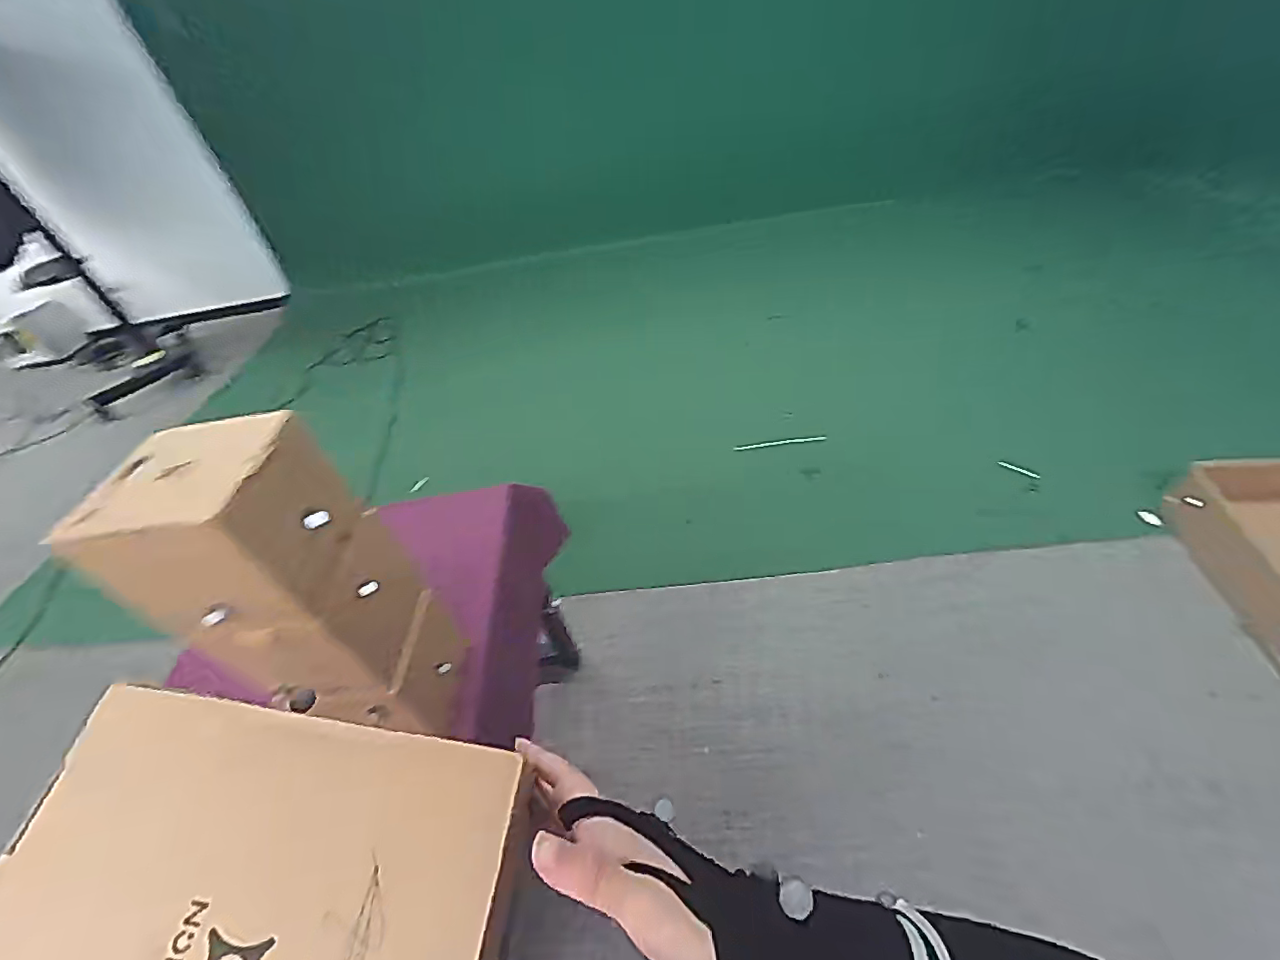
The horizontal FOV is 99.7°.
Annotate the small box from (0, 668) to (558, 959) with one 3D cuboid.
[{"bbox_3d":[-0.144,0.206,0.260,0.179,0.176,0.168,12,59,-2],"label":"small box"}]

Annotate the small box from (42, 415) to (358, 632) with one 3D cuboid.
[{"bbox_3d":[-0.452,0.051,0.598,0.179,0.176,0.168,-6,43,5],"label":"small box"}]

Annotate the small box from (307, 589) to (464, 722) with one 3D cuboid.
[{"bbox_3d":[-0.389,0.288,0.819,0.179,0.176,0.168,-7,43,6],"label":"small box"}]

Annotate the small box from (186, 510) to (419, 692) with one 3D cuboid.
[{"bbox_3d":[-0.418,0.166,0.712,0.168,0.176,0.179,-7,43,6],"label":"small box"}]
